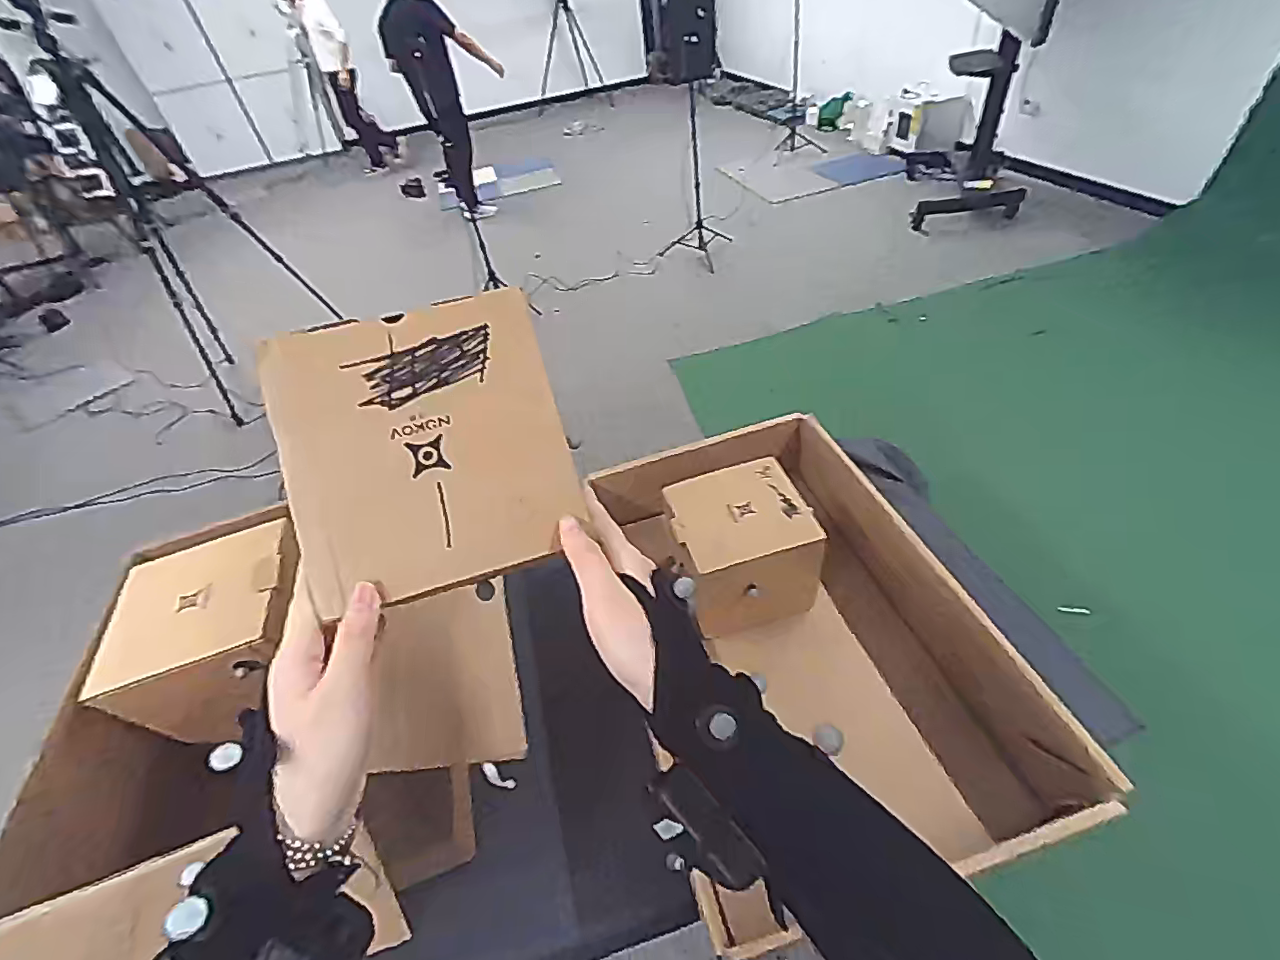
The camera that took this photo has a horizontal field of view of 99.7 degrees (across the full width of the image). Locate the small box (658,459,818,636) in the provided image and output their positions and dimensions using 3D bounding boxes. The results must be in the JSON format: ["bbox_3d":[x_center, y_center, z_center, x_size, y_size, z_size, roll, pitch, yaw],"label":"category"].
[{"bbox_3d":[0.141,0.103,0.794,0.179,0.176,0.168,-17,46,-4],"label":"small box"}]

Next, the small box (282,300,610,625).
[{"bbox_3d":[-0.129,-0.005,0.411,0.168,0.176,0.179,-16,84,-9],"label":"small box"}]
